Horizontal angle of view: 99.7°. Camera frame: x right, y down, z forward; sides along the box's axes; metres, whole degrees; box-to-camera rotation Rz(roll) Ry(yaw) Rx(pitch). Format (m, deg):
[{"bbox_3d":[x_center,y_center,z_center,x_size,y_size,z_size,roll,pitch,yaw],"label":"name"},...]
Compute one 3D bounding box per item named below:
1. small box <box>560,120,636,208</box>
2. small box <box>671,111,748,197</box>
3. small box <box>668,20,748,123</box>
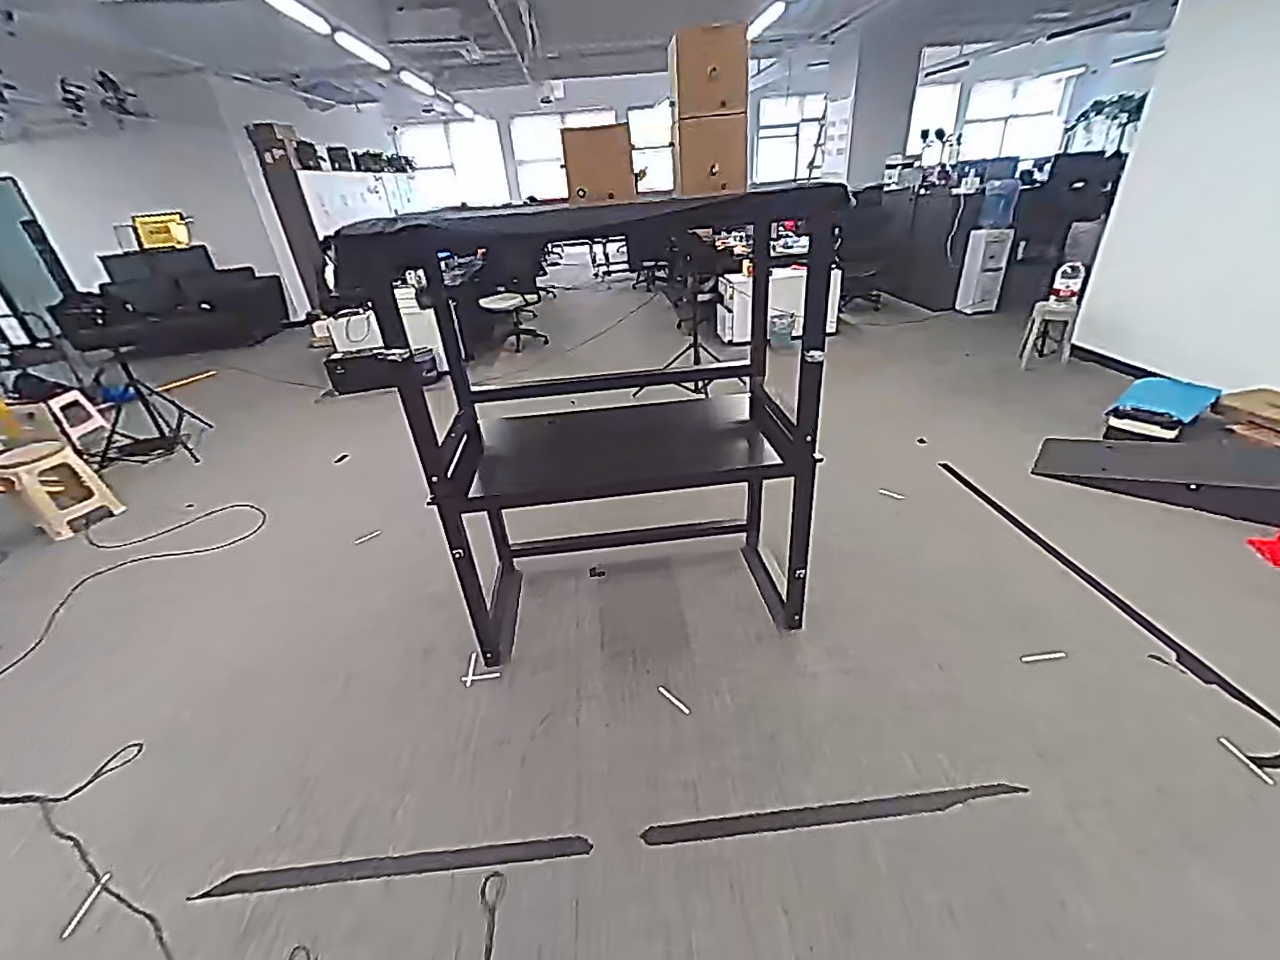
[{"bbox_3d":[-0.102,-0.780,1.348,0.168,0.176,0.179,-6,27,-2],"label":"small box"},{"bbox_3d":[0.171,-0.811,1.358,0.168,0.176,0.179,-7,29,-1],"label":"small box"},{"bbox_3d":[0.159,-0.955,1.280,0.168,0.176,0.179,-5,29,0],"label":"small box"}]
